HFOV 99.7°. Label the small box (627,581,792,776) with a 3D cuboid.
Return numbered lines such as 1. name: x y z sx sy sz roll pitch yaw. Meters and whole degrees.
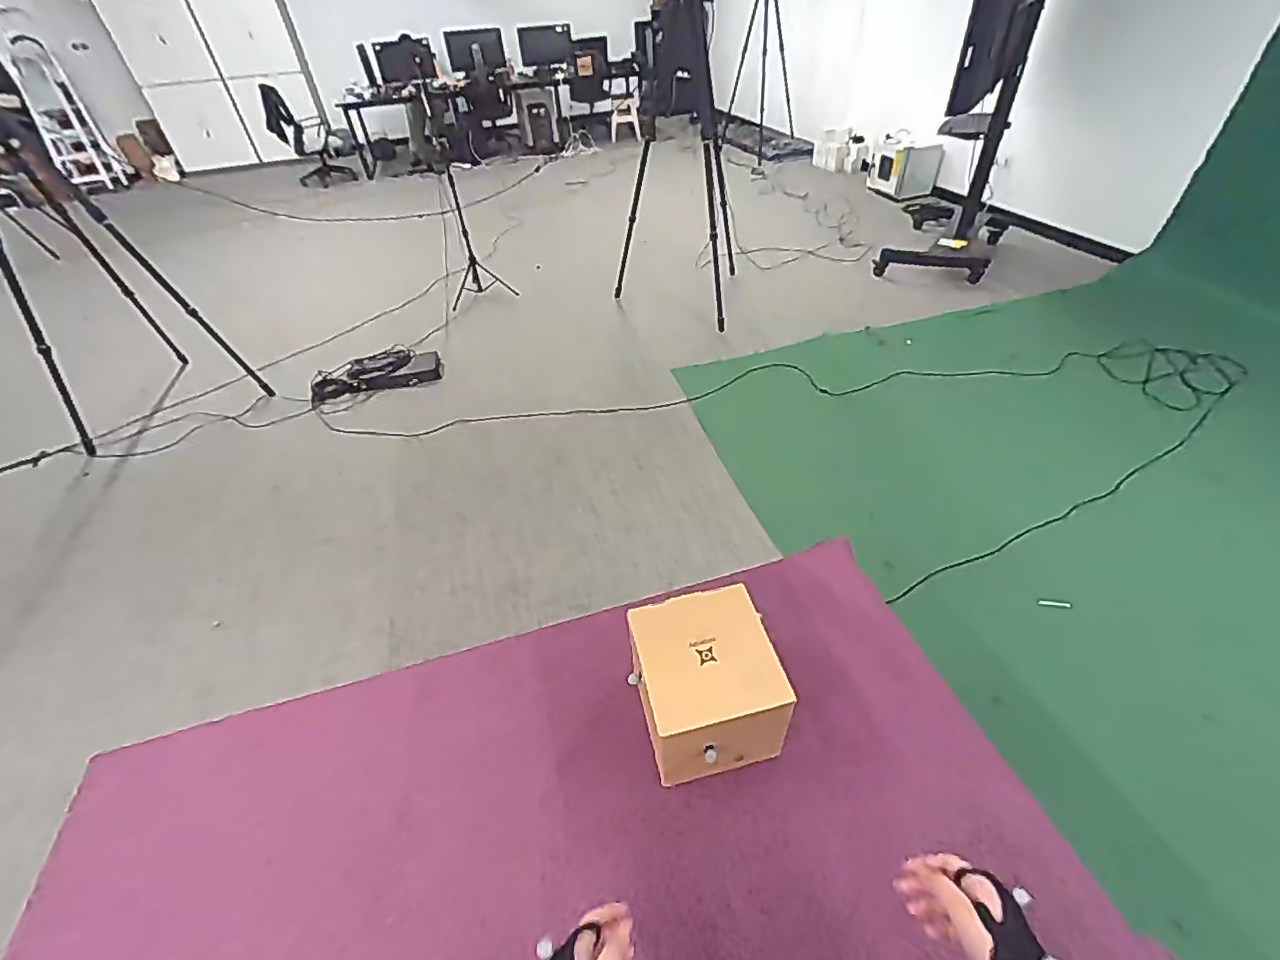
1. small box: 0.087 0.270 0.725 0.168 0.176 0.179 -13 42 -7
